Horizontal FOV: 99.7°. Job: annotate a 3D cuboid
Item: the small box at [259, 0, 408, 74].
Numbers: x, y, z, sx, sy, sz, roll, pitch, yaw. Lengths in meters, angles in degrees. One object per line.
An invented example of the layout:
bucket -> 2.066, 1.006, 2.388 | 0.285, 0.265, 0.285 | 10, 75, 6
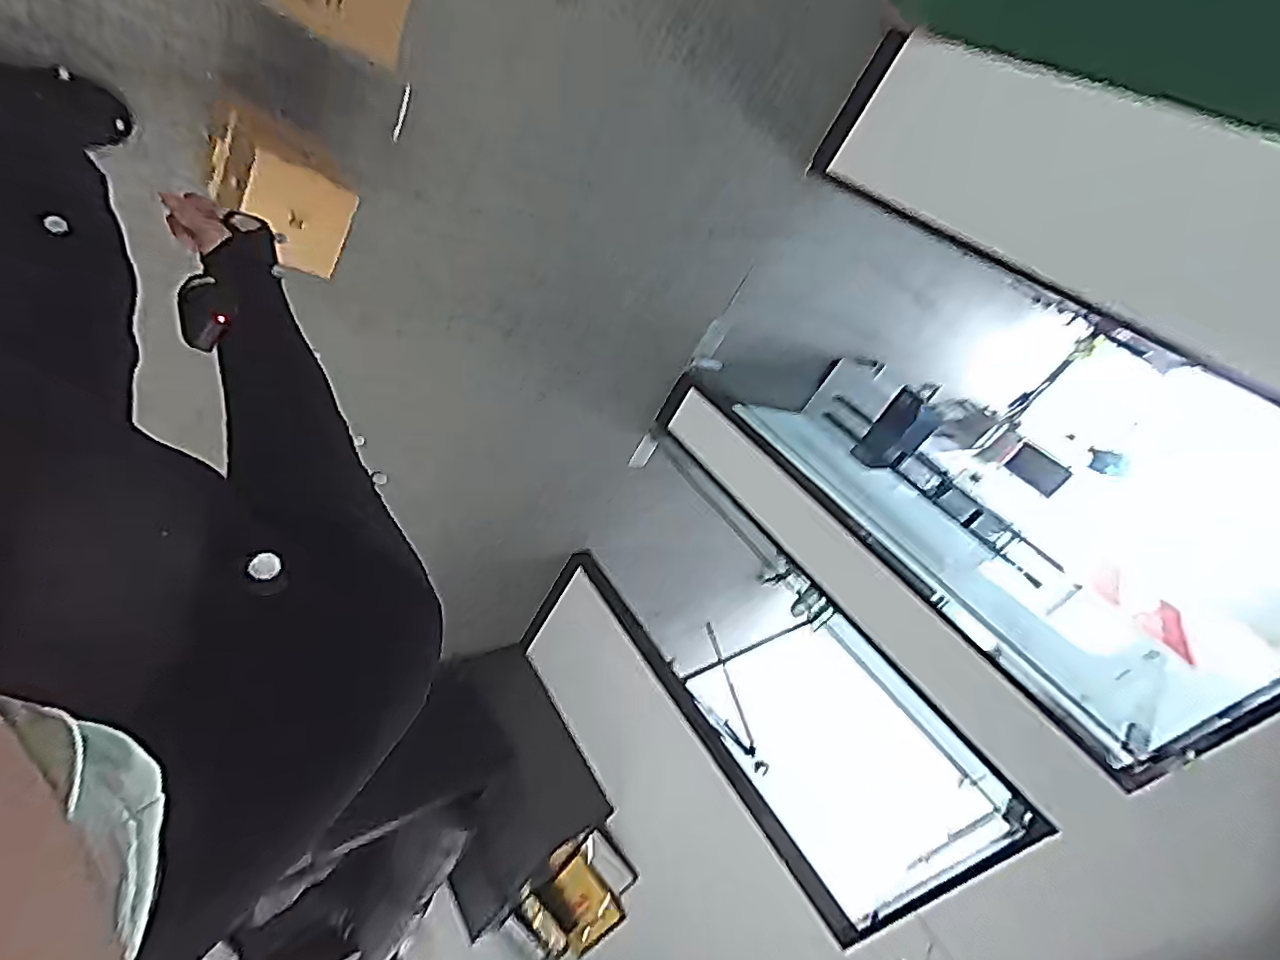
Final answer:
small box -> -0.424, -0.705, 0.726 | 0.168, 0.176, 0.179 | -2, 132, -47

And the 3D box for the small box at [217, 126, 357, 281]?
small box -> -0.668, -0.516, 1.017 | 0.168, 0.176, 0.179 | 5, 125, -52

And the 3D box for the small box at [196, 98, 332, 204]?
small box -> -0.762, -0.629, 1.090 | 0.179, 0.176, 0.168 | 9, 124, -52
